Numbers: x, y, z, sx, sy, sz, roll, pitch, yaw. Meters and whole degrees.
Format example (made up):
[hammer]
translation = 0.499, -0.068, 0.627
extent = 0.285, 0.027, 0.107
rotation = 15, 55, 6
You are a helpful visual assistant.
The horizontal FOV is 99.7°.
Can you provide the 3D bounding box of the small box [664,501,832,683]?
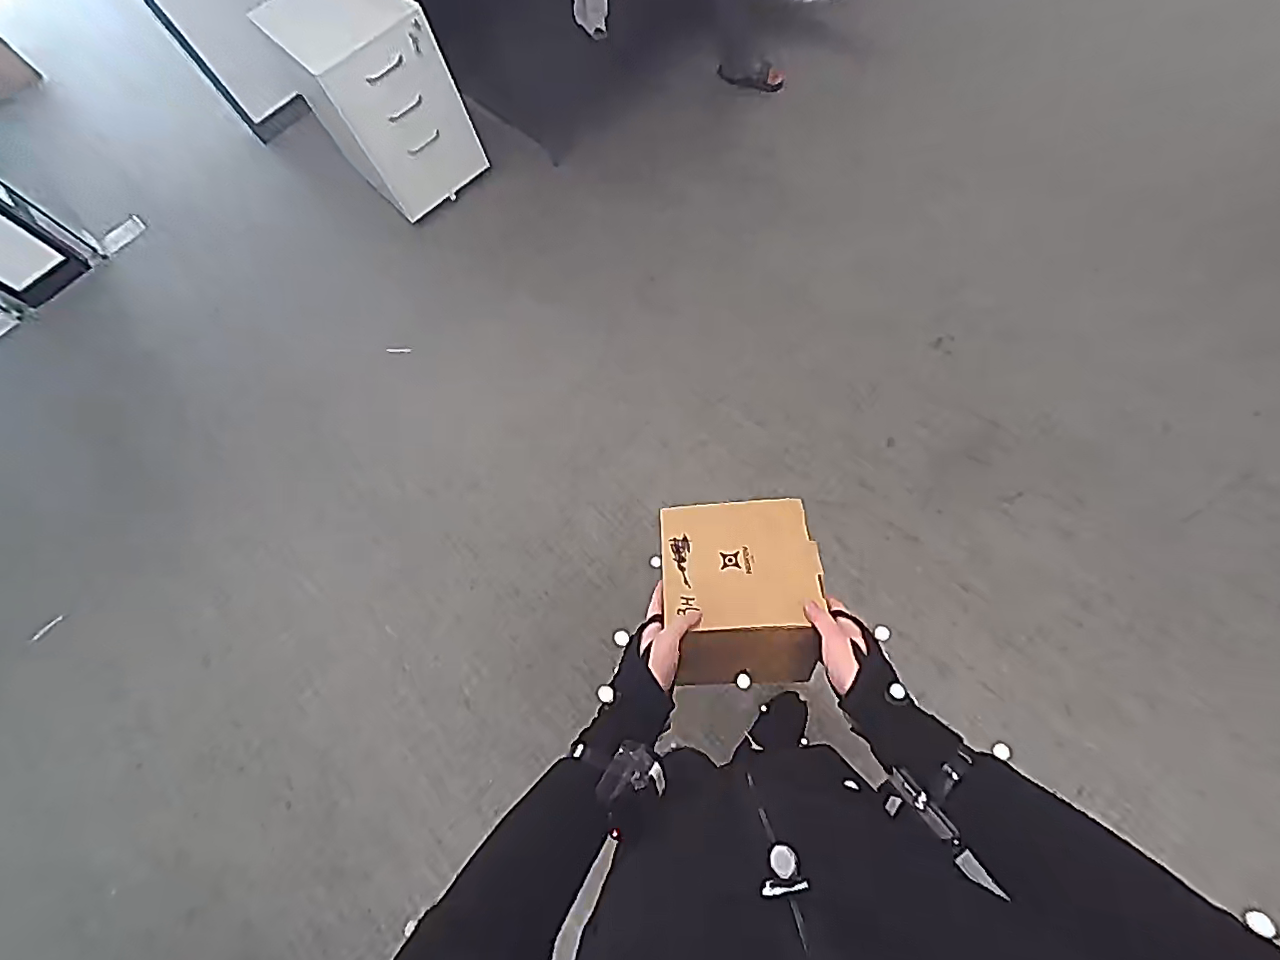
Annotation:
[small box]
translation = 0.121, 0.143, 0.678
extent = 0.179, 0.176, 0.168
rotation = -3, 48, 4
